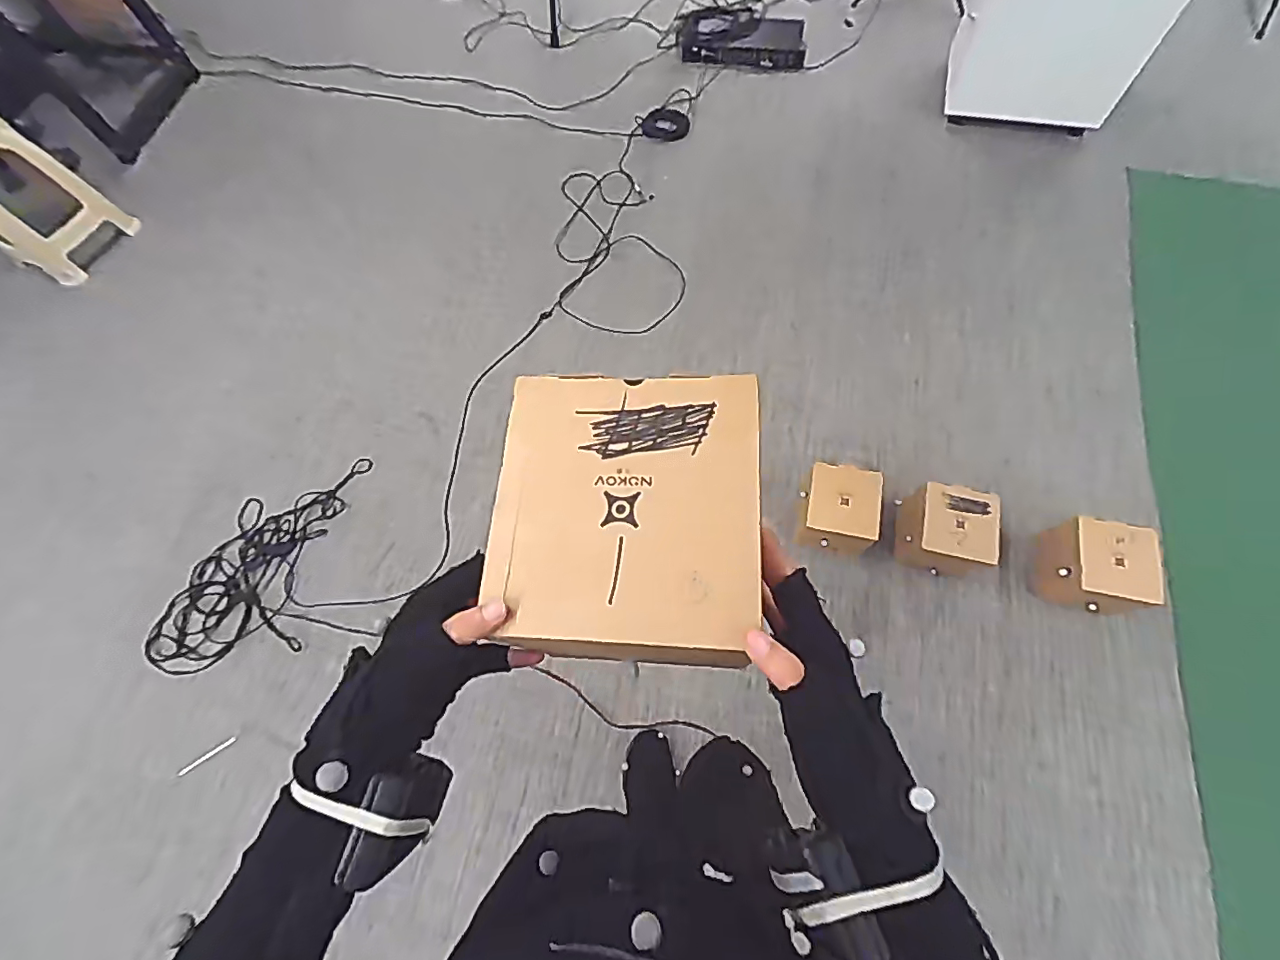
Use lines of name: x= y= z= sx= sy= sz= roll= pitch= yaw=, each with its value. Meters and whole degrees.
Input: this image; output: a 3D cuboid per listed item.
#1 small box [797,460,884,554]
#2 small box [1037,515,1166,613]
small box: x=0.497 y=0.074 z=1.360 sx=0.168 sy=0.176 sz=0.179 roll=10 pitch=68 yaw=9
small box: x=1.065 y=0.202 z=1.264 sx=0.168 sy=0.176 sz=0.179 roll=11 pitch=69 yaw=8
